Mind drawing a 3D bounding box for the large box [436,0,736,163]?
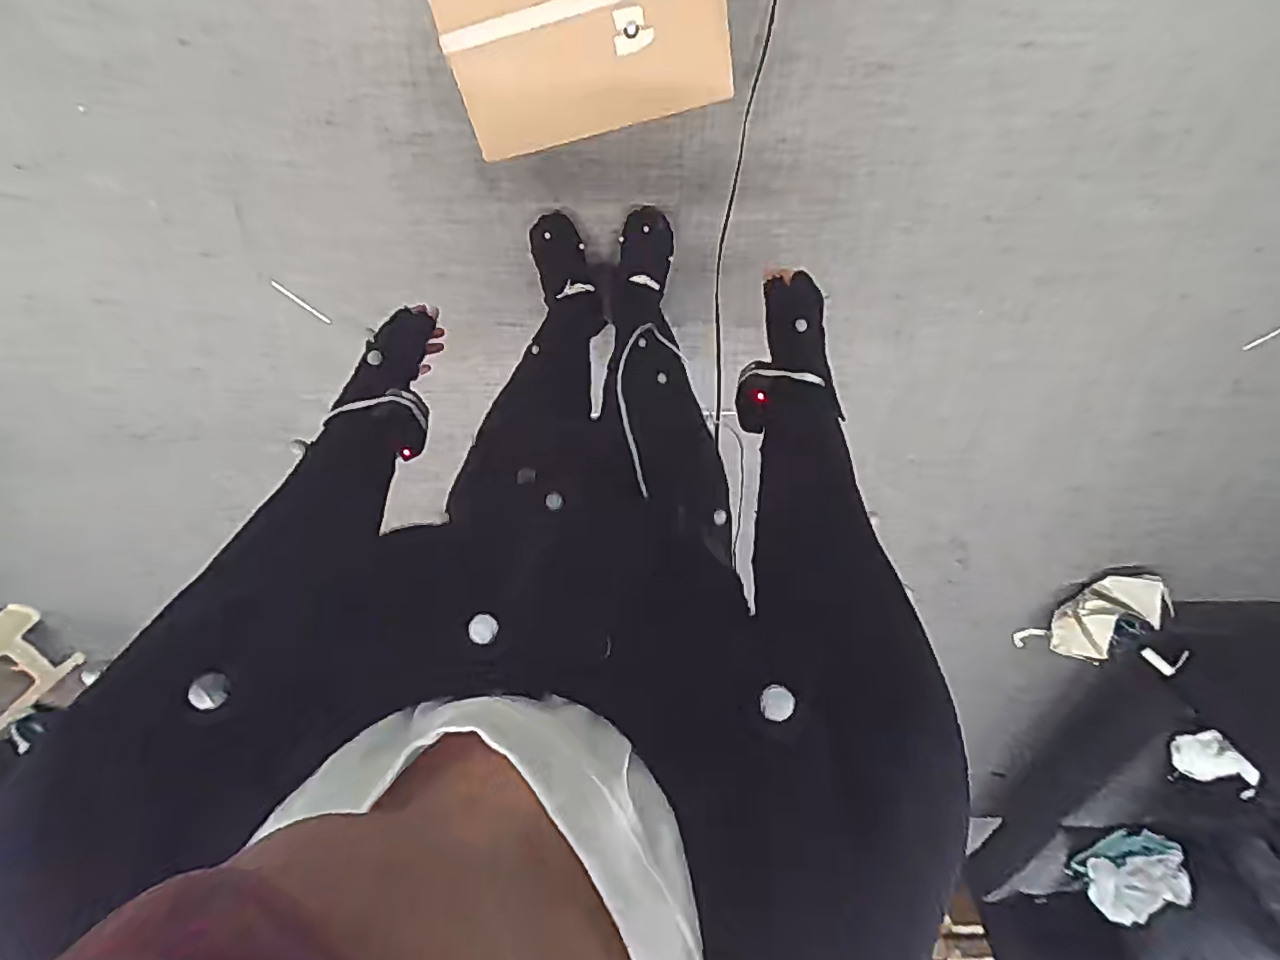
[{"bbox_3d":[-0.086,-0.754,0.878,0.408,0.320,0.320,-11,127,6],"label":"large box"}]
